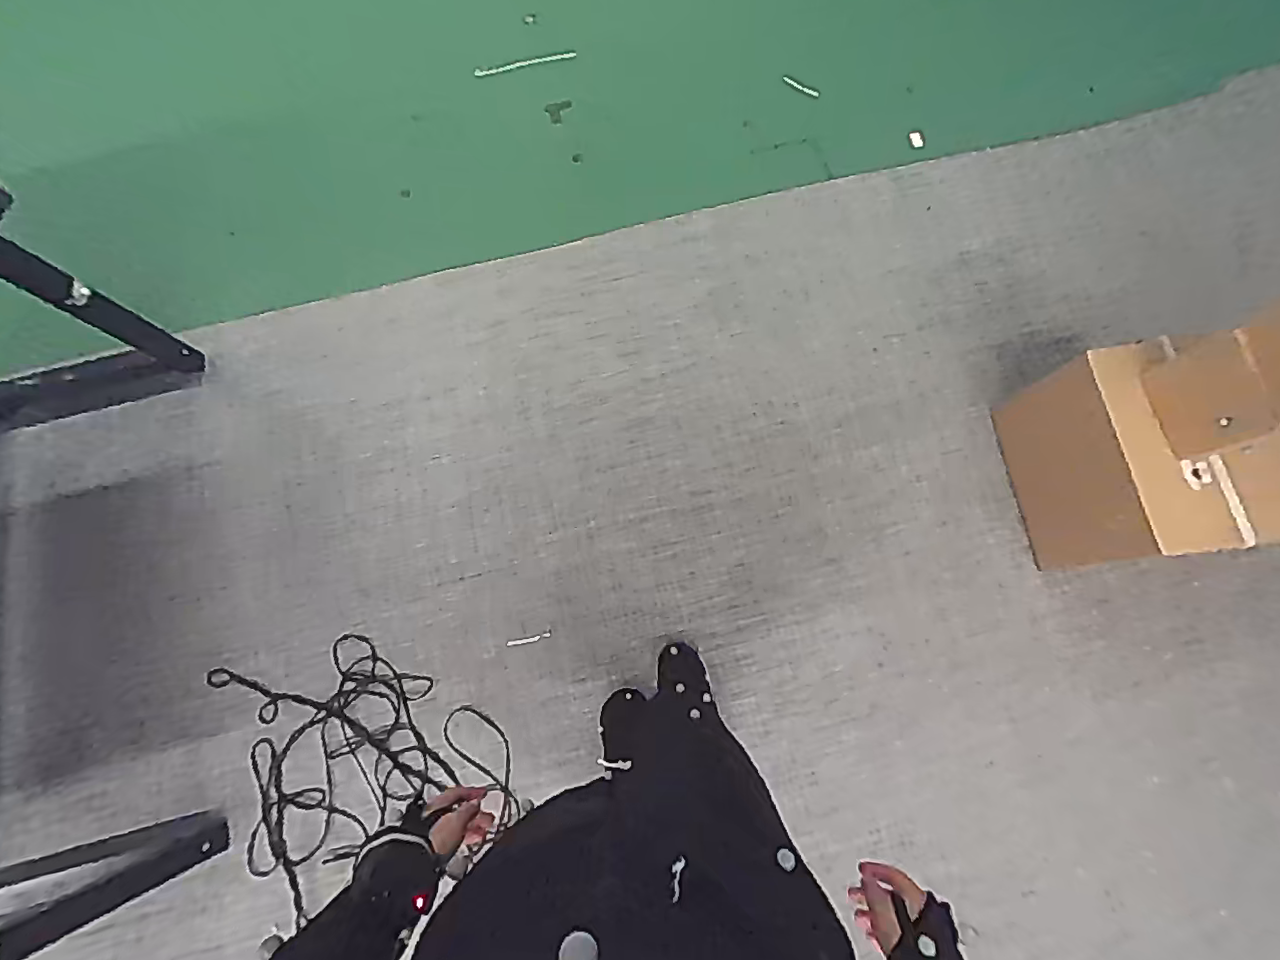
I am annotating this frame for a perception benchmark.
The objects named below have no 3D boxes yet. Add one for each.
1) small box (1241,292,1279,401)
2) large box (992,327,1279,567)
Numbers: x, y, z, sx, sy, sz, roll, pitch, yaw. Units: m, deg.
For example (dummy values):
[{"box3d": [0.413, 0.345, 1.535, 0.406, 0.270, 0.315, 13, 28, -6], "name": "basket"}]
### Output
[{"box3d": [1.026, -0.205, 0.754, 0.168, 0.176, 0.179, -4, 75, -1], "name": "small box"}, {"box3d": [1.030, -0.049, 1.133, 0.320, 0.320, 0.408, -9, 76, 0], "name": "large box"}]
